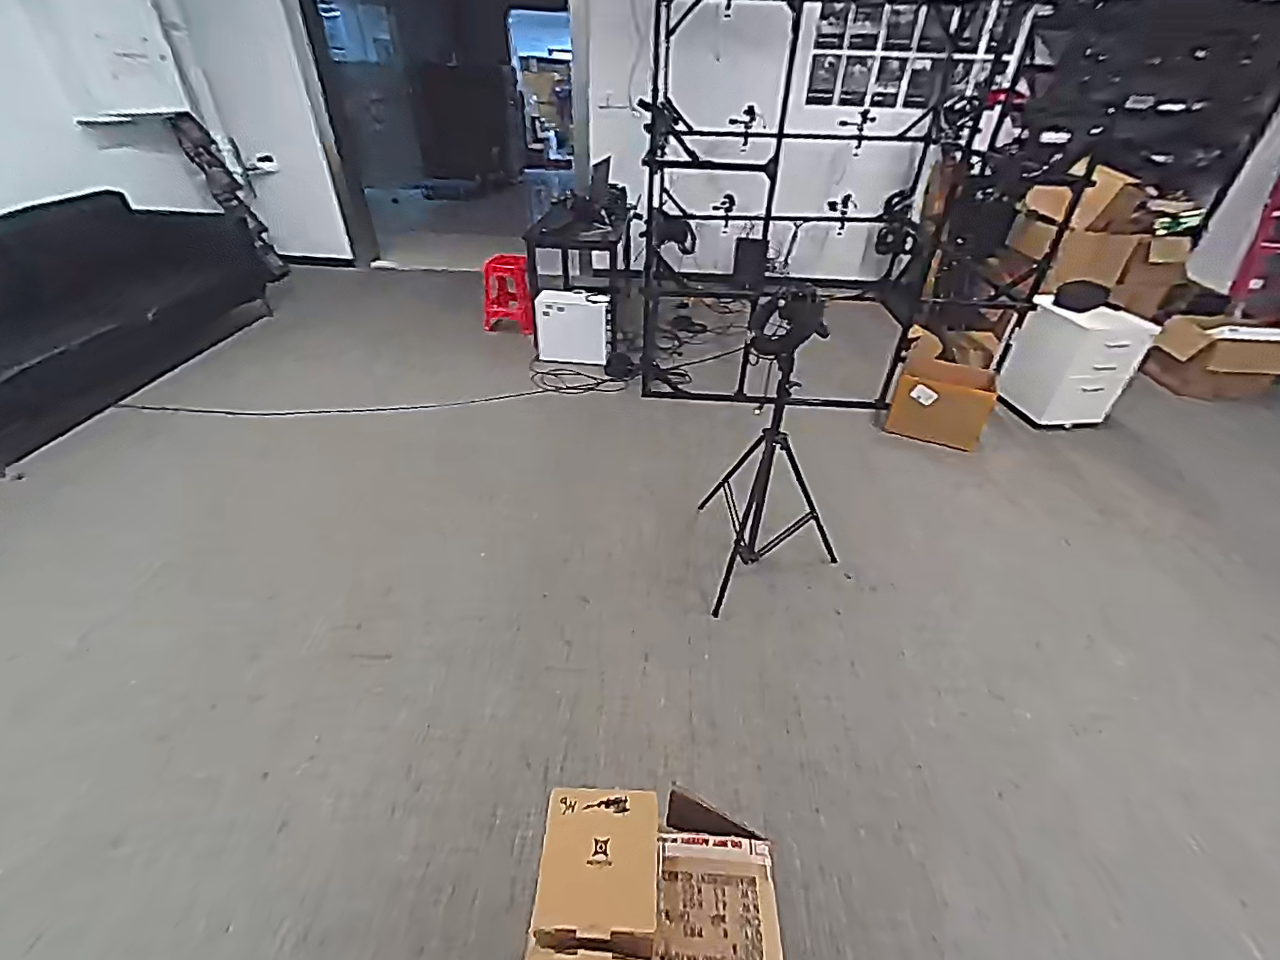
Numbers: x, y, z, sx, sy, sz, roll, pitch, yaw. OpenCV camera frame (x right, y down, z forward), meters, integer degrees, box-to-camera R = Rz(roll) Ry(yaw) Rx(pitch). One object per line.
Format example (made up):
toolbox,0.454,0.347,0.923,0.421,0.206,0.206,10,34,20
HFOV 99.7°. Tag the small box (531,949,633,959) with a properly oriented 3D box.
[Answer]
small box,-0.063,0.715,0.663,0.168,0.176,0.179,2,40,4

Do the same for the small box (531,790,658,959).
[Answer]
small box,-0.056,0.594,0.813,0.168,0.176,0.179,1,40,1
